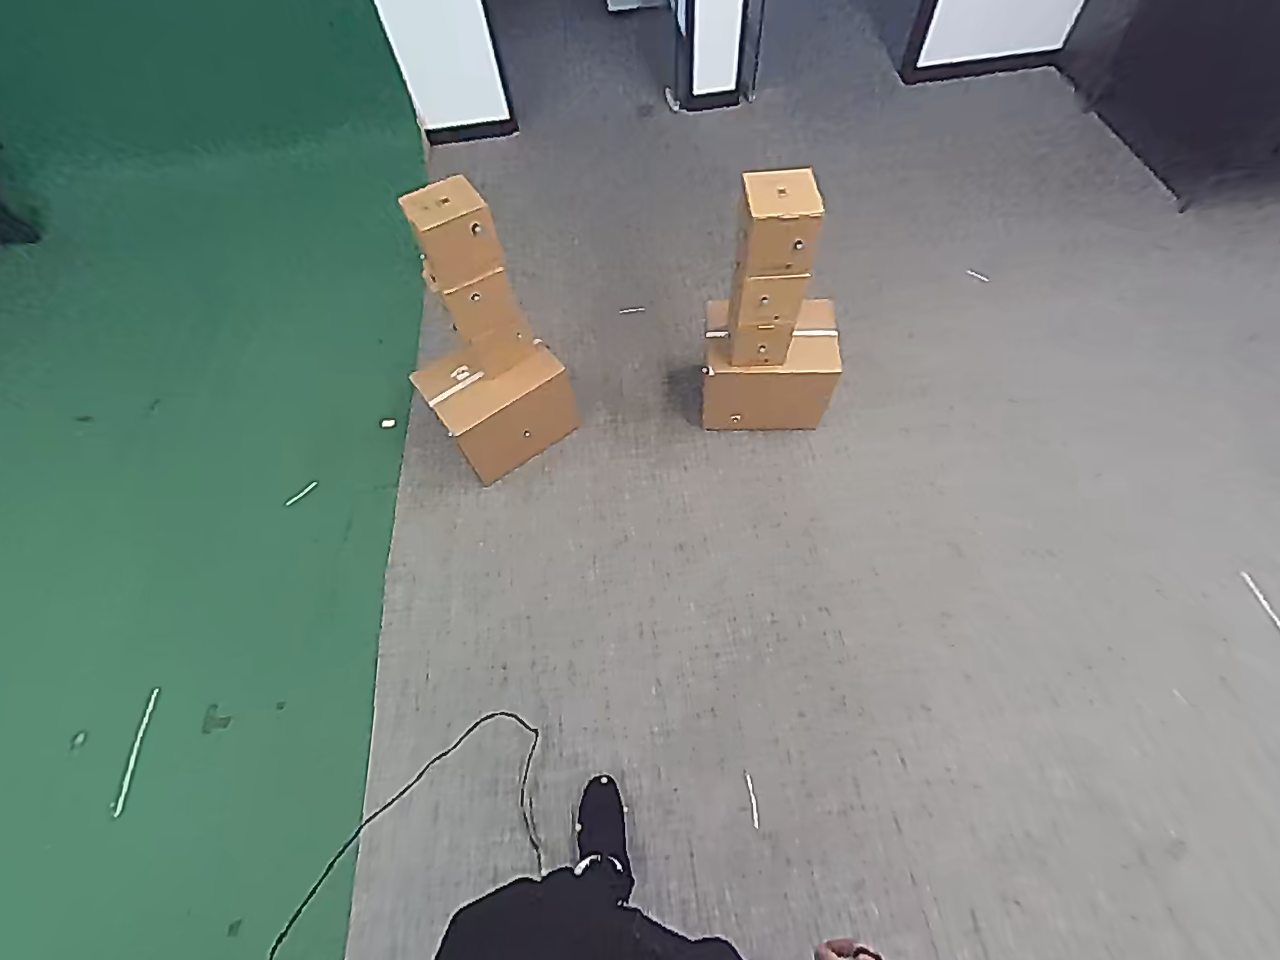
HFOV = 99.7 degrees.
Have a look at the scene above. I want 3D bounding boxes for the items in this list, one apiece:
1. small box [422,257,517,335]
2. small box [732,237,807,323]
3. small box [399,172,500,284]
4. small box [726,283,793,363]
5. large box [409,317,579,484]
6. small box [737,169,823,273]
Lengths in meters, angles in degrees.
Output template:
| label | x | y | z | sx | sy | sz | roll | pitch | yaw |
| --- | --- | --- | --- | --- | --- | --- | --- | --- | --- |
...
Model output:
| label | x | y | z | sx | sy | sz | roll | pitch | yaw |
| --- | --- | --- | --- | --- | --- | --- | --- | --- | --- |
| small box | -0.467 | -0.536 | 1.502 | 0.179 | 0.176 | 0.168 | -29 | 63 | -13 |
| small box | 0.343 | -0.541 | 1.463 | 0.168 | 0.176 | 0.179 | -2 | 60 | 2 |
| small box | -0.470 | -0.633 | 1.368 | 0.179 | 0.176 | 0.168 | -30 | 62 | -13 |
| small box | 0.348 | -0.464 | 1.606 | 0.168 | 0.176 | 0.179 | -1 | 62 | 2 |
| large box | -0.472 | -0.263 | 1.820 | 0.408 | 0.320 | 0.320 | -36 | 64 | -15 |
| small box | 0.334 | -0.625 | 1.323 | 0.168 | 0.176 | 0.179 | -2 | 60 | 1 |
